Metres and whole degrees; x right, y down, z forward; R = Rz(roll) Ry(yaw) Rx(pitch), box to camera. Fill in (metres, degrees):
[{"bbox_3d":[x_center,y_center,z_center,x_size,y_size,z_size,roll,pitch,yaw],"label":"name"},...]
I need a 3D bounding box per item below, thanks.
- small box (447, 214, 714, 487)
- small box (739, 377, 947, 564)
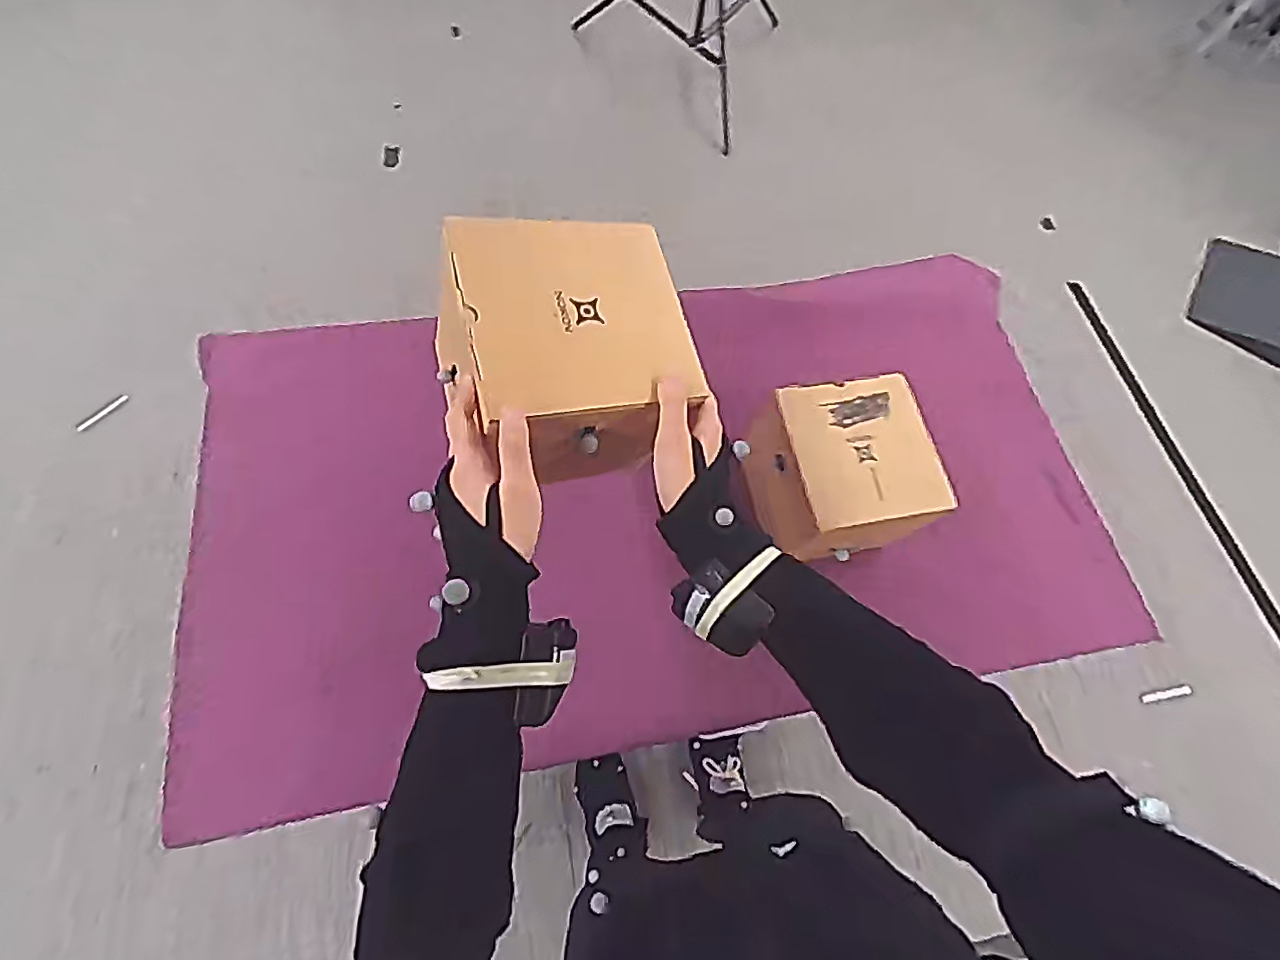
[{"bbox_3d":[-0.066,-0.103,0.477,0.179,0.176,0.168,-10,77,-23],"label":"small box"},{"bbox_3d":[0.238,-0.006,0.686,0.168,0.176,0.179,-8,70,-8],"label":"small box"}]
